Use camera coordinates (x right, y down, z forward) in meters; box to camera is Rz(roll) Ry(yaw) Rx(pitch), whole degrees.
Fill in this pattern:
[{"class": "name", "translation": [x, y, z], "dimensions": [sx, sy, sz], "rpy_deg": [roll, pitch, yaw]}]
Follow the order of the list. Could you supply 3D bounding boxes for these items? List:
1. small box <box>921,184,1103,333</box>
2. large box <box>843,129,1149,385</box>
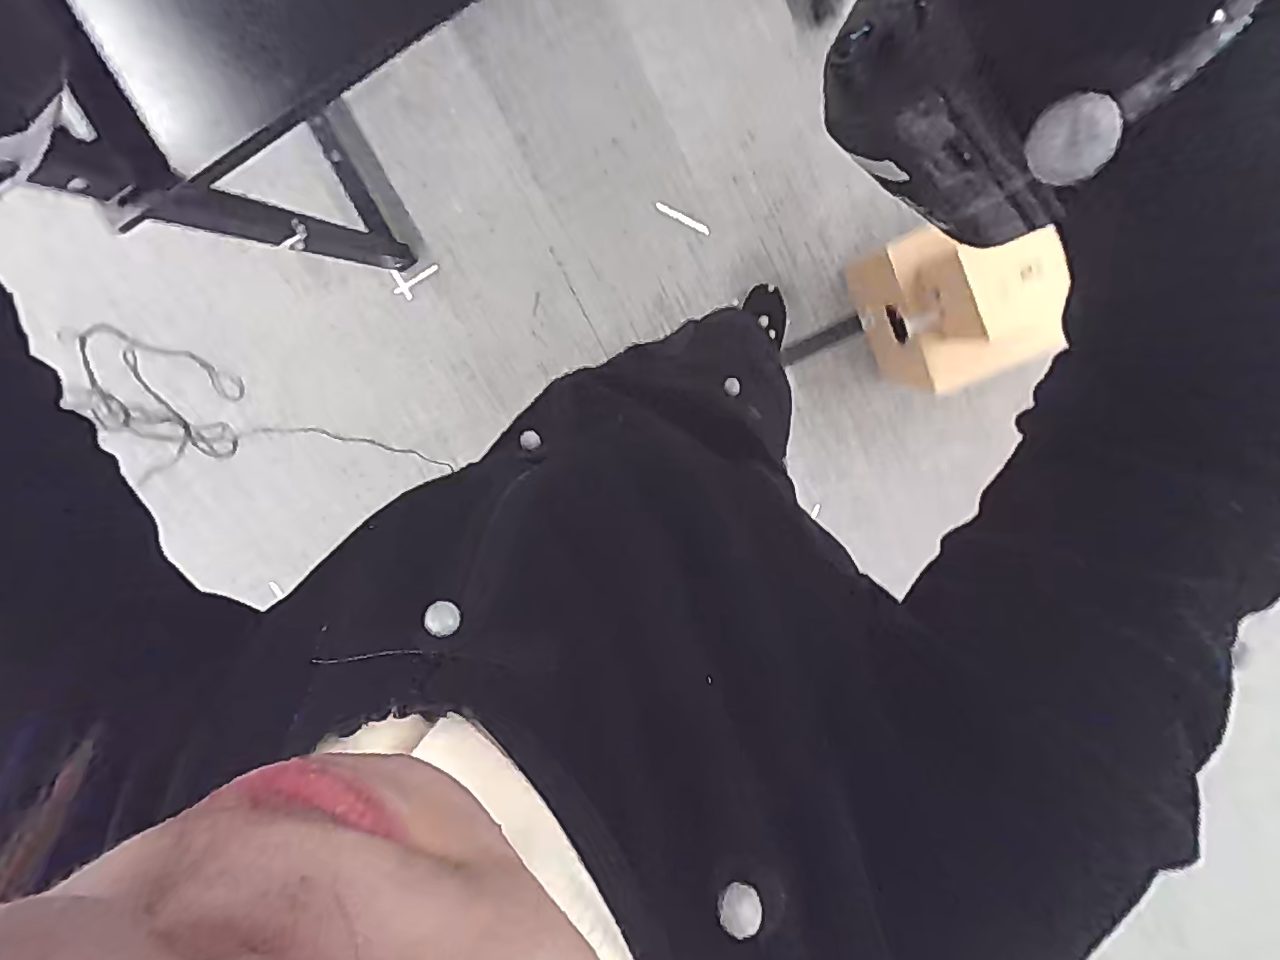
[{"class": "small box", "translation": [0.623, -0.365, 0.925], "dimensions": [0.179, 0.176, 0.168], "rpy_deg": [-25, 100, 12]}, {"class": "large box", "translation": [0.715, -0.438, 1.153], "dimensions": [0.408, 0.320, 0.320], "rpy_deg": [-24, 103, 10]}]
